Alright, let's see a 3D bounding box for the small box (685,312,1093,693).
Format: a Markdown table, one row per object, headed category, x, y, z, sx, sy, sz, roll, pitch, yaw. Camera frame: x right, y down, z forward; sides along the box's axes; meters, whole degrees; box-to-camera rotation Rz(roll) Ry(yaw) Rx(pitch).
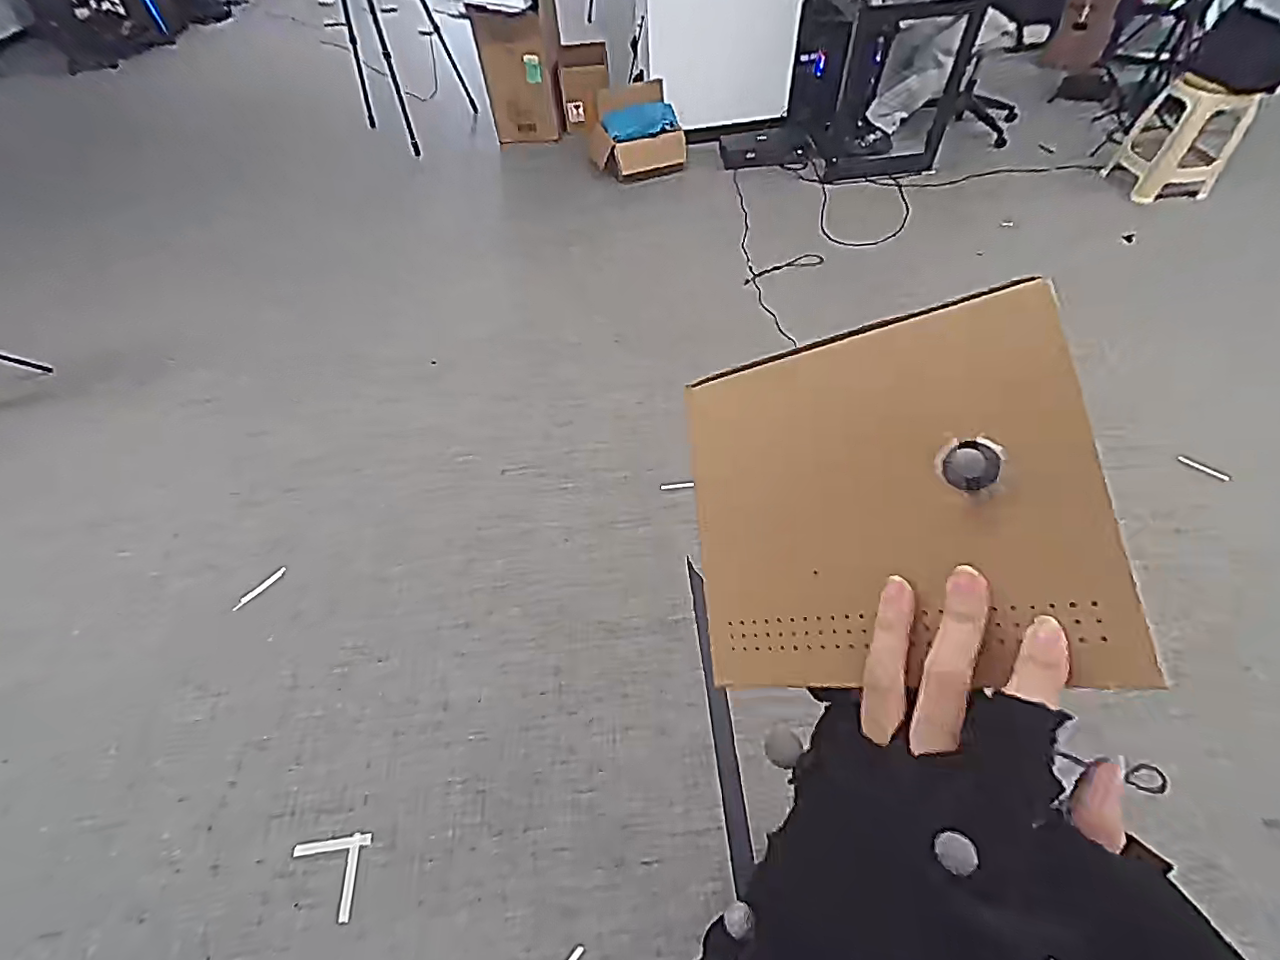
| category | x | y | z | sx | sy | sz | roll | pitch | yaw |
| --- | --- | --- | --- | --- | --- | --- | --- | --- | --- |
| small box | 0.149 | 0.030 | 0.333 | 0.179 | 0.168 | 0.176 | -13 | 73 | 32 |
